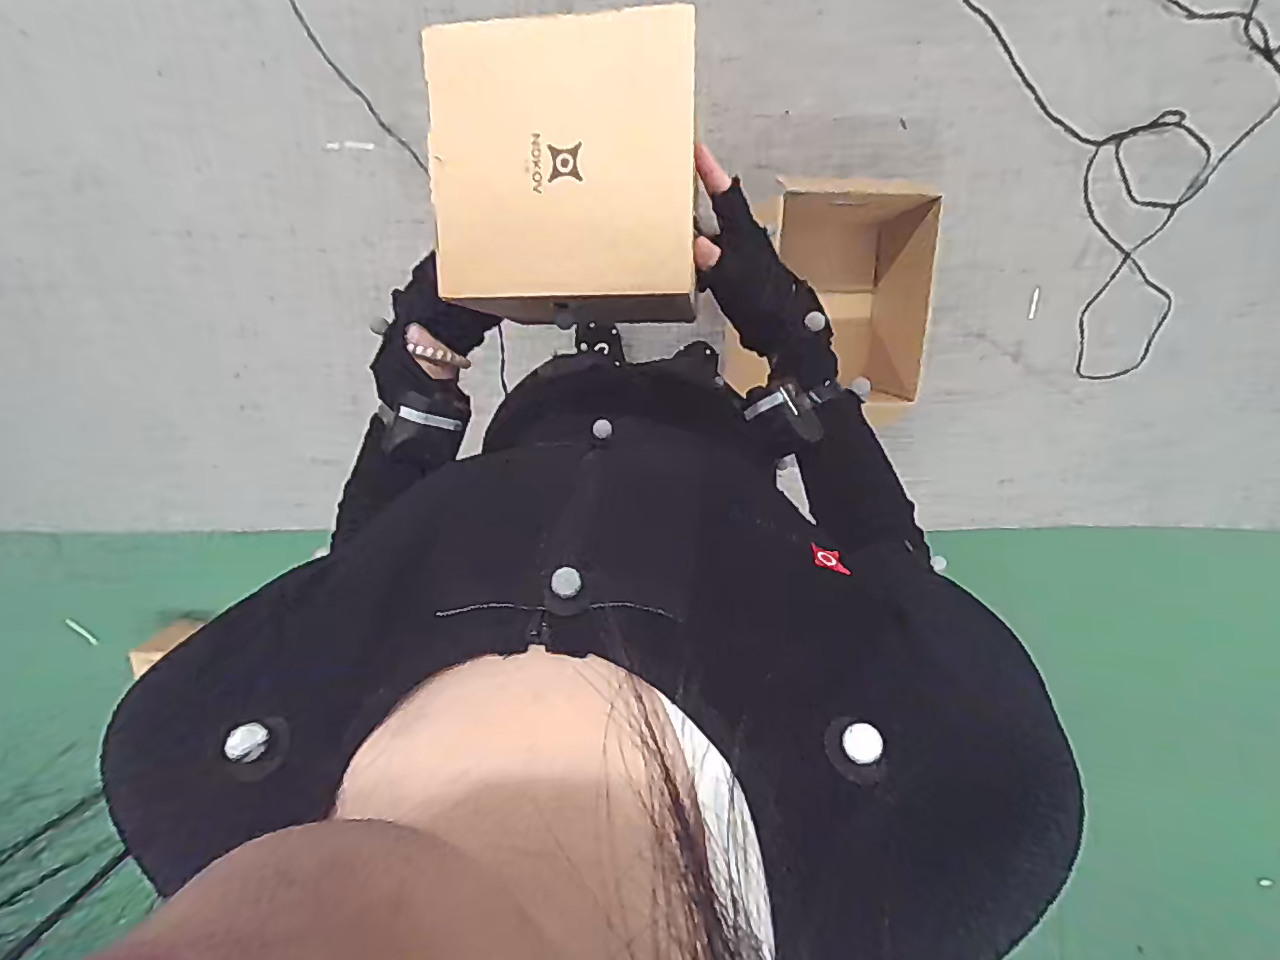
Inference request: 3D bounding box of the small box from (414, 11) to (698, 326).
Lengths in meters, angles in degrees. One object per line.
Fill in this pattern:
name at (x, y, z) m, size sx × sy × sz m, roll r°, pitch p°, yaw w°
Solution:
small box at (-0.045, -0.212, 0.418) m, size 0.179 × 0.176 × 0.168 m, roll 1°, pitch 101°, yaw 8°
